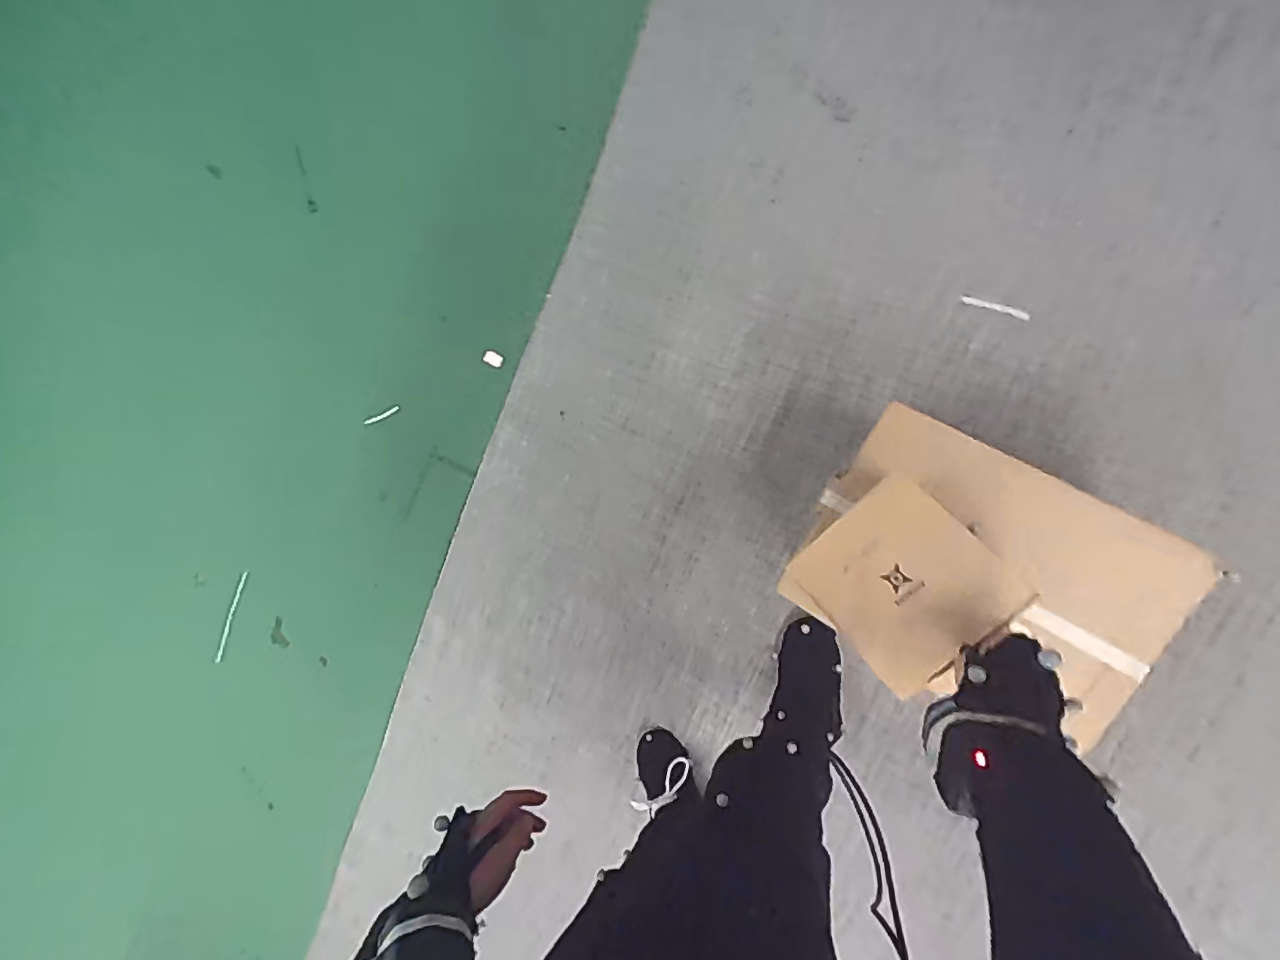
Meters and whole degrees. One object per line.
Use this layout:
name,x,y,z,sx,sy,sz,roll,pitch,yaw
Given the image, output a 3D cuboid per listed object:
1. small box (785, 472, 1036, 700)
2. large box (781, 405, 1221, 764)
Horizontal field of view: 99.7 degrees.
small box,0.303,0.117,0.622,0.168,0.176,0.179,-45,62,14
large box,0.478,0.124,0.835,0.408,0.320,0.320,31,100,17
